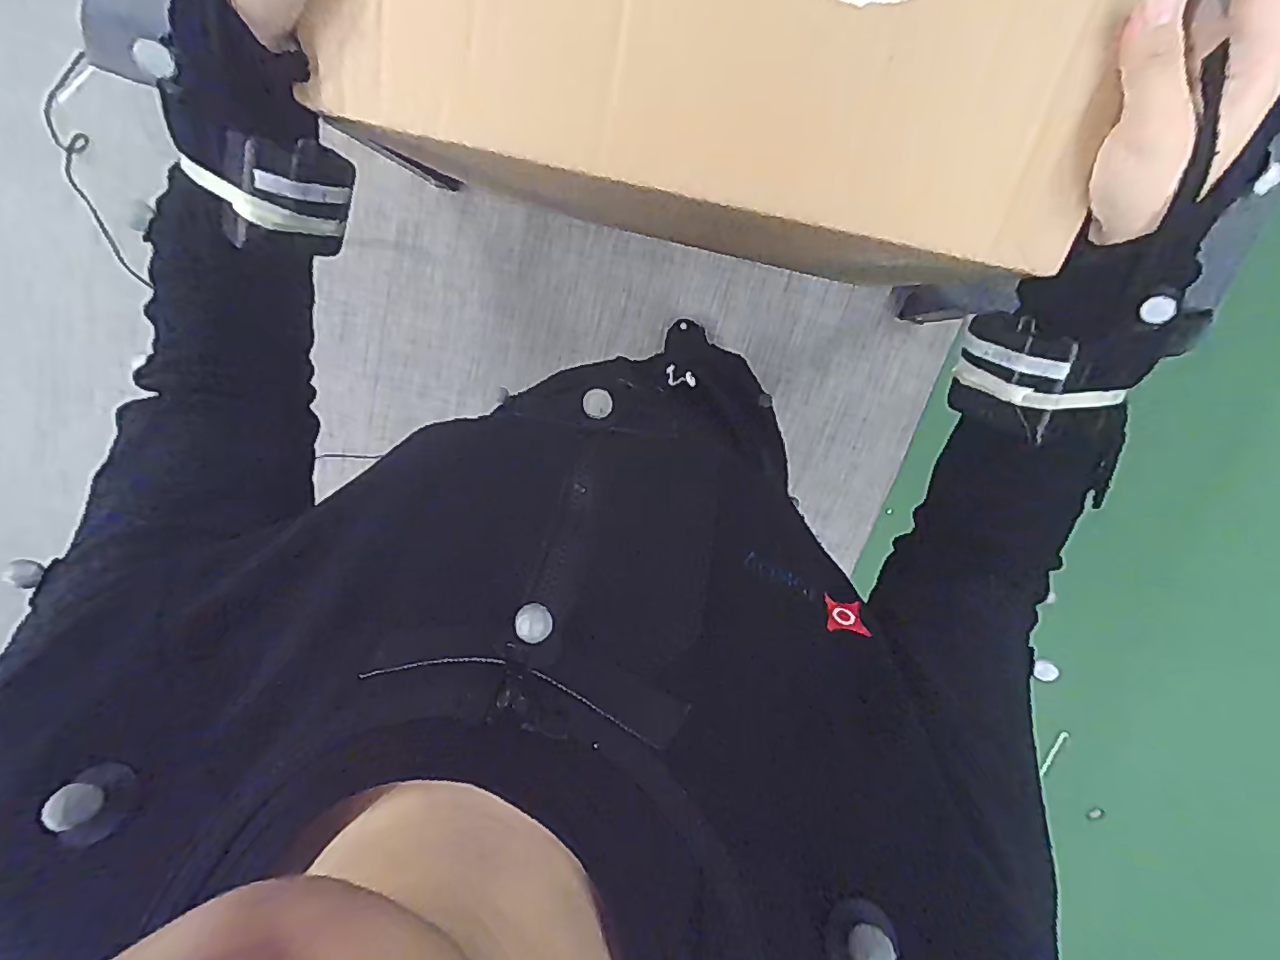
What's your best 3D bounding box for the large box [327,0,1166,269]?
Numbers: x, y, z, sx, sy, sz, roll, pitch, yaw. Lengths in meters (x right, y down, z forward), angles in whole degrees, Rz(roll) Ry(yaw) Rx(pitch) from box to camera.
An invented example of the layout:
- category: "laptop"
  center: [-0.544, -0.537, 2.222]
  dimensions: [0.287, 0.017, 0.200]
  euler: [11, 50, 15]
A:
- category: "large box"
  center: [0.069, -0.353, 0.375]
  dimensions: [0.408, 0.320, 0.320]
  euler: [13, 111, 1]
